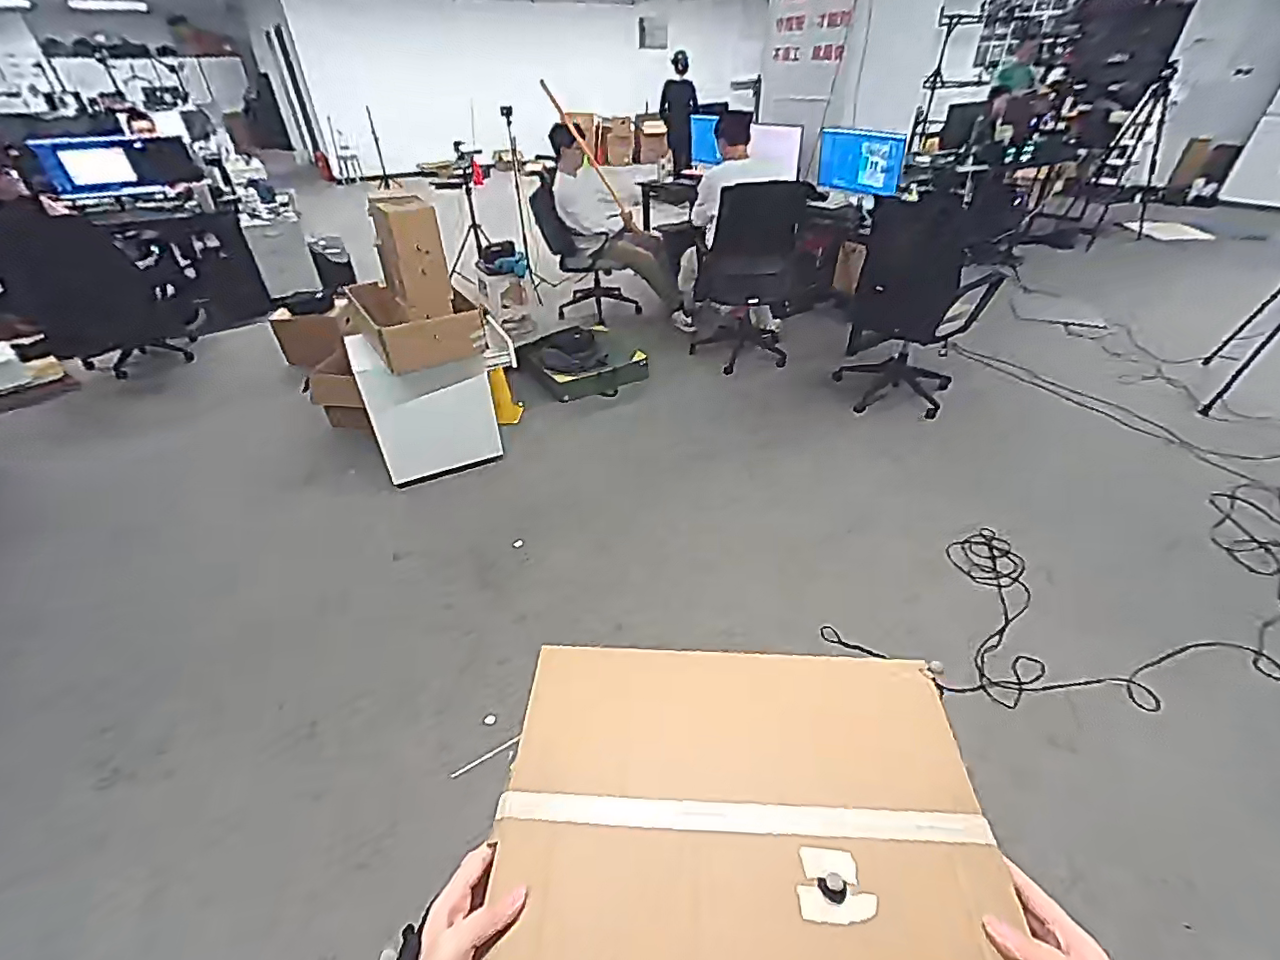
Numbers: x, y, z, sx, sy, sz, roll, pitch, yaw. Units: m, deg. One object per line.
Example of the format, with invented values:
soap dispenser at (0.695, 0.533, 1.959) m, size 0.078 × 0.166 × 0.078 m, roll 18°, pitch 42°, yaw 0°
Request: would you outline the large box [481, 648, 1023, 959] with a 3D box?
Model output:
large box at (0.086, 0.400, 0.564) m, size 0.408 × 0.320 × 0.320 m, roll 2°, pitch 41°, yaw 3°
